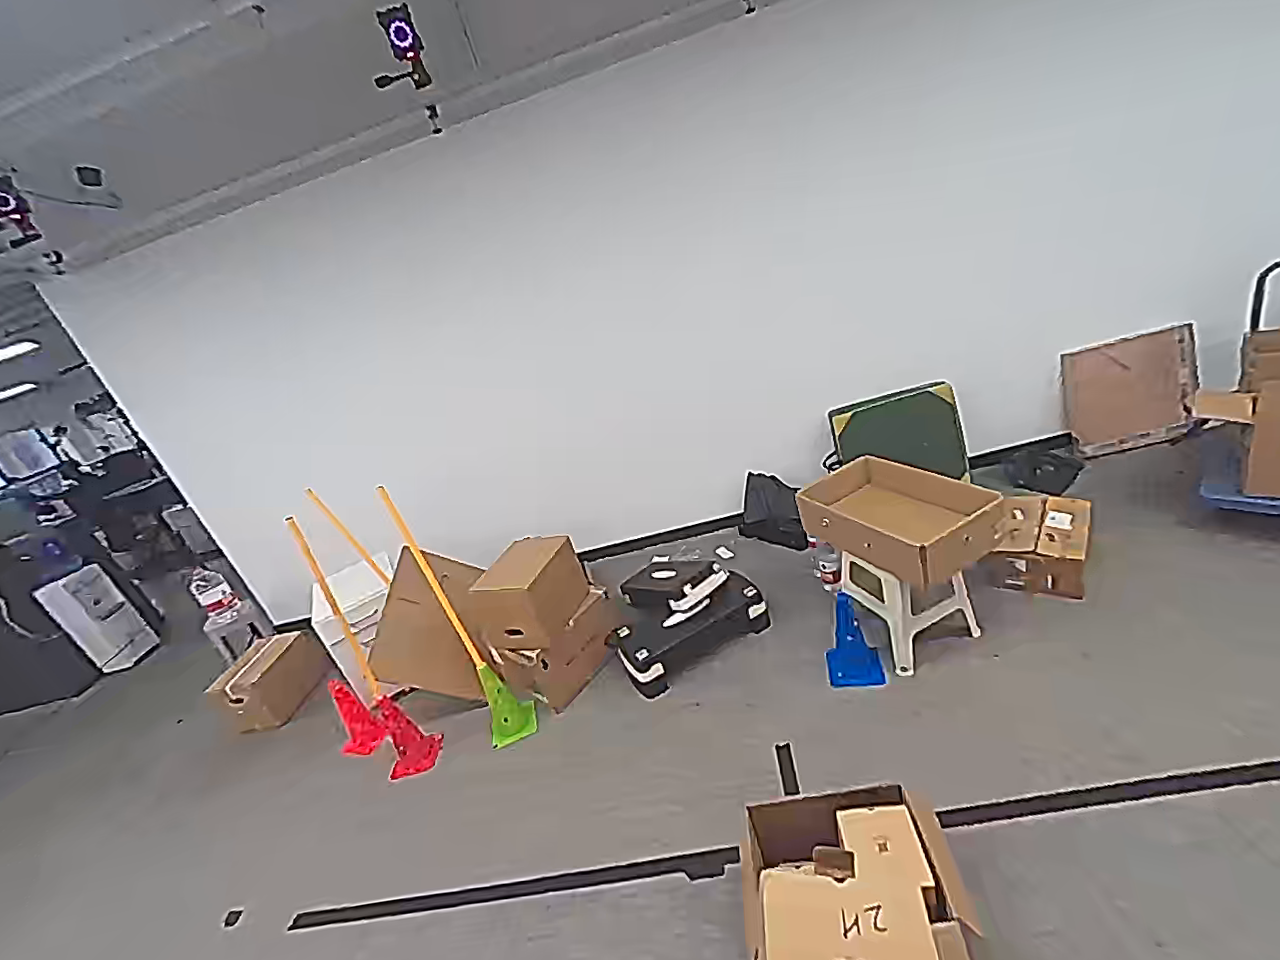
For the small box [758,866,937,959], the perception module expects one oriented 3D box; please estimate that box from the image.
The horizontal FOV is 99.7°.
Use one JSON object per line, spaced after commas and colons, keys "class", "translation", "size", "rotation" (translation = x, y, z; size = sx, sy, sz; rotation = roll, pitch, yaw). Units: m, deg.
{"class": "small box", "translation": [0.212, 0.543, 0.563], "size": [0.168, 0.176, 0.179], "rotation": [0, 35, 8]}
